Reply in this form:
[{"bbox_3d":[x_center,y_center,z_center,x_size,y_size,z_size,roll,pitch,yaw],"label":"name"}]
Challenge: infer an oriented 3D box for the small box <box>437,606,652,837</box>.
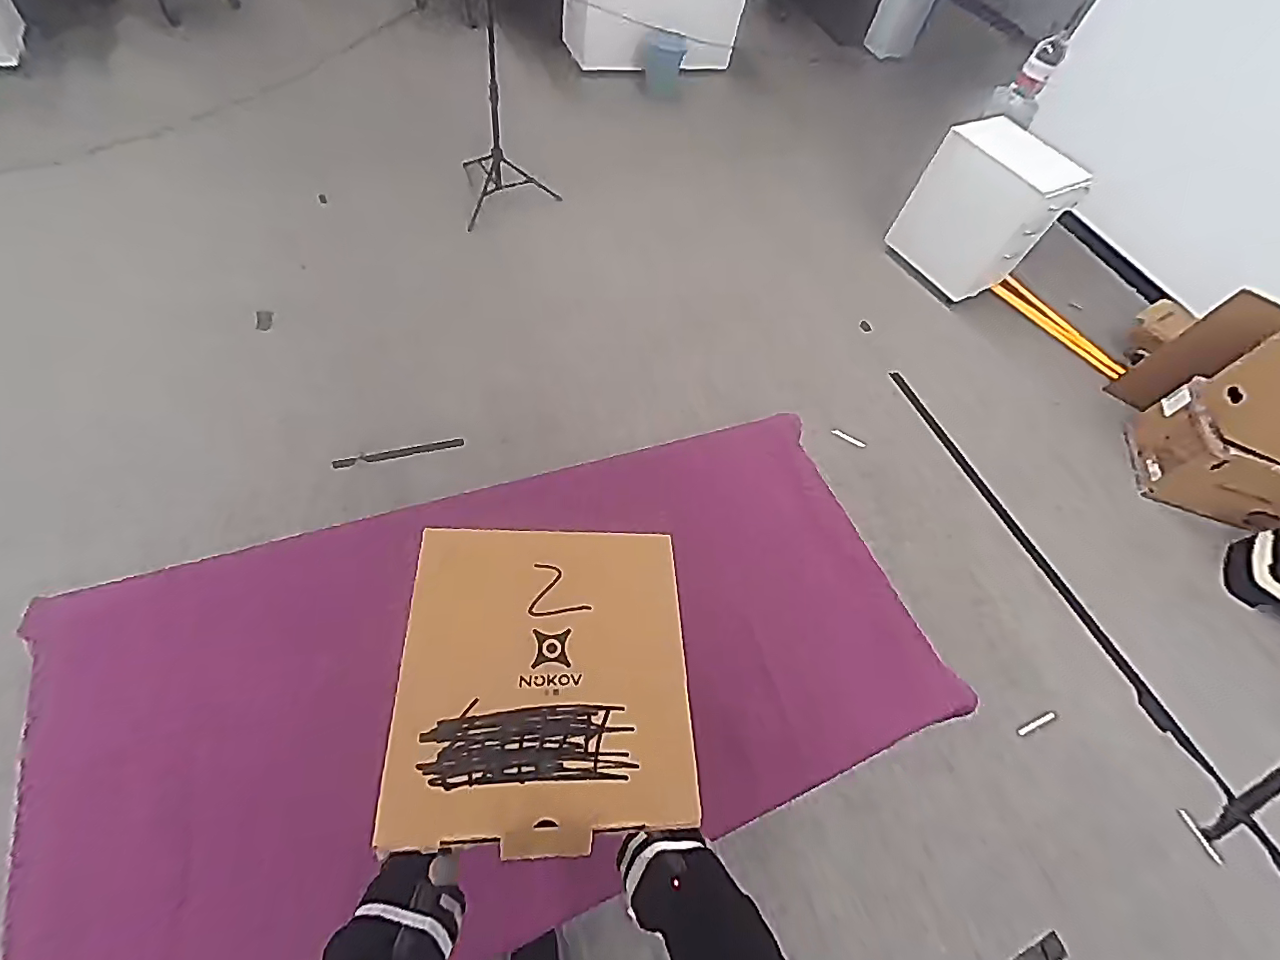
[{"bbox_3d":[-0.090,0.234,0.519,0.168,0.176,0.179,3,57,-11],"label":"small box"}]
